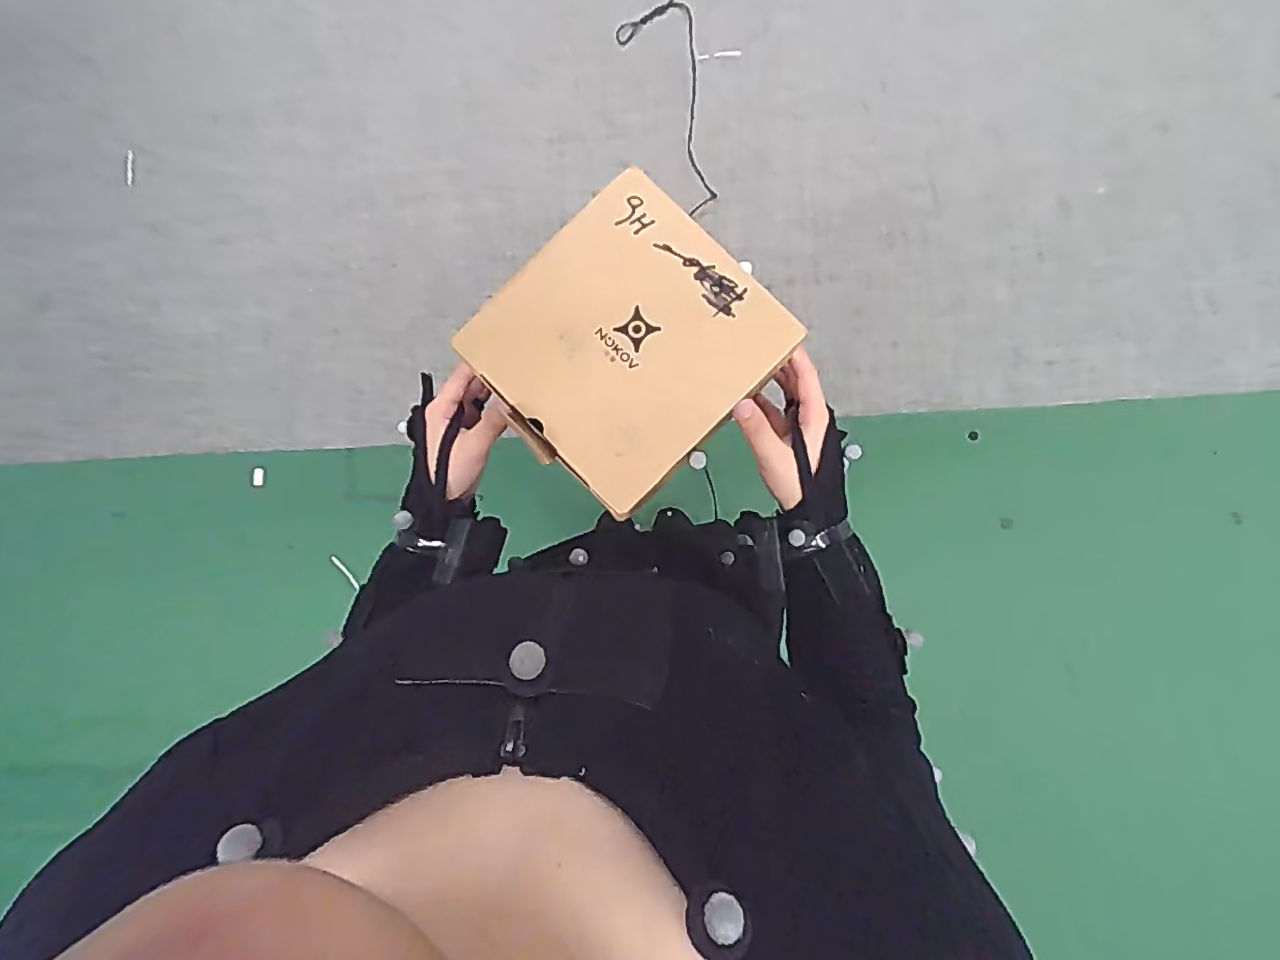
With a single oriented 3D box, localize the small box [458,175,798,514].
[{"bbox_3d":[-0.005,-0.088,0.442,0.179,0.176,0.168,-45,86,0],"label":"small box"}]
